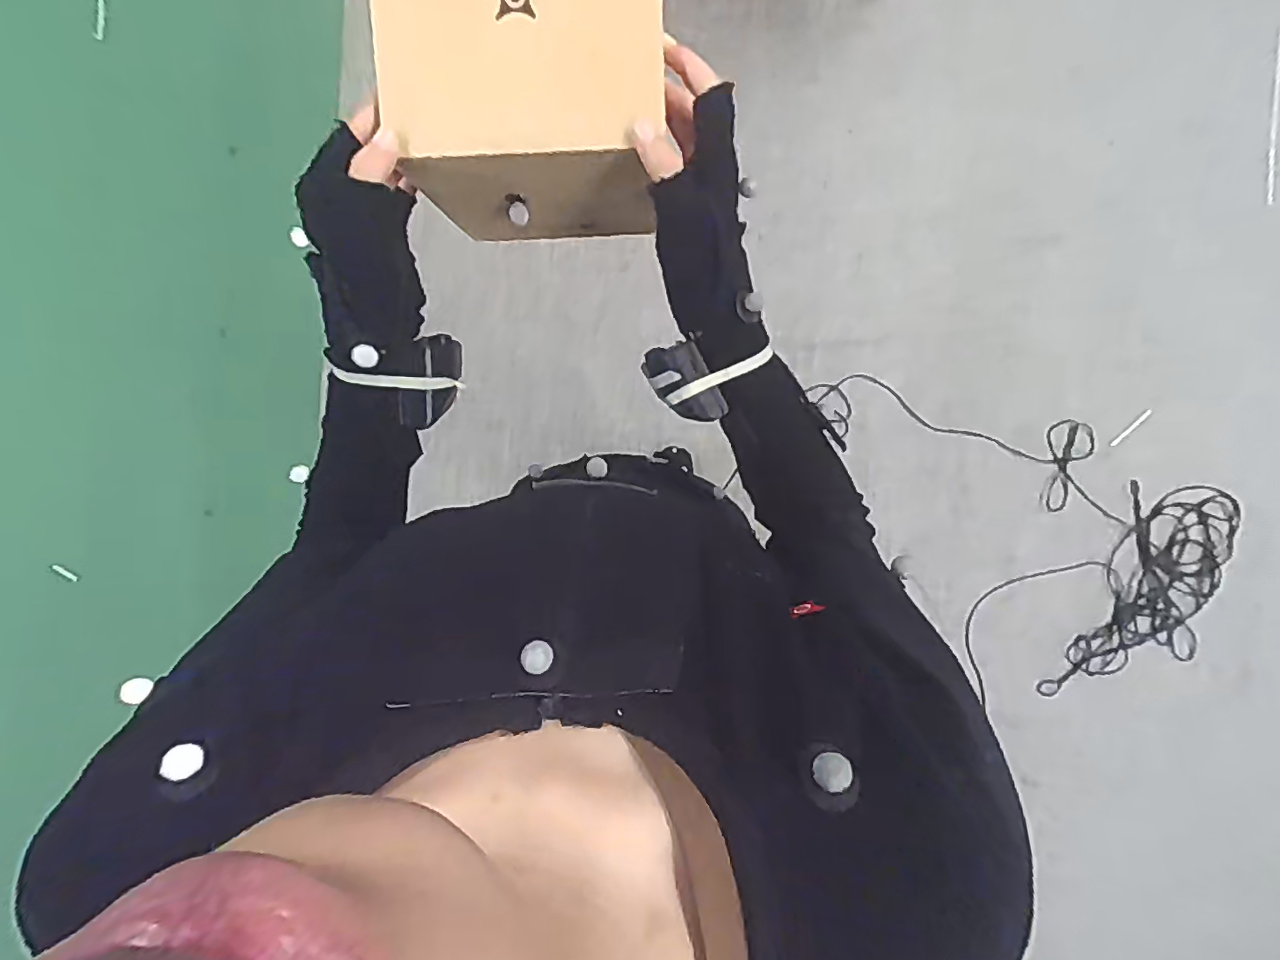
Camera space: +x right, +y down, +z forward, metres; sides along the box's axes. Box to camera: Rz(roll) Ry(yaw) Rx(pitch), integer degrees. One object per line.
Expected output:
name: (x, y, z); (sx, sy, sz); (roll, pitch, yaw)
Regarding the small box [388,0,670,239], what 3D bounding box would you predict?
small box: (-0.063, -0.286, 0.392); (0.168, 0.176, 0.179); (-3, 98, 1)
